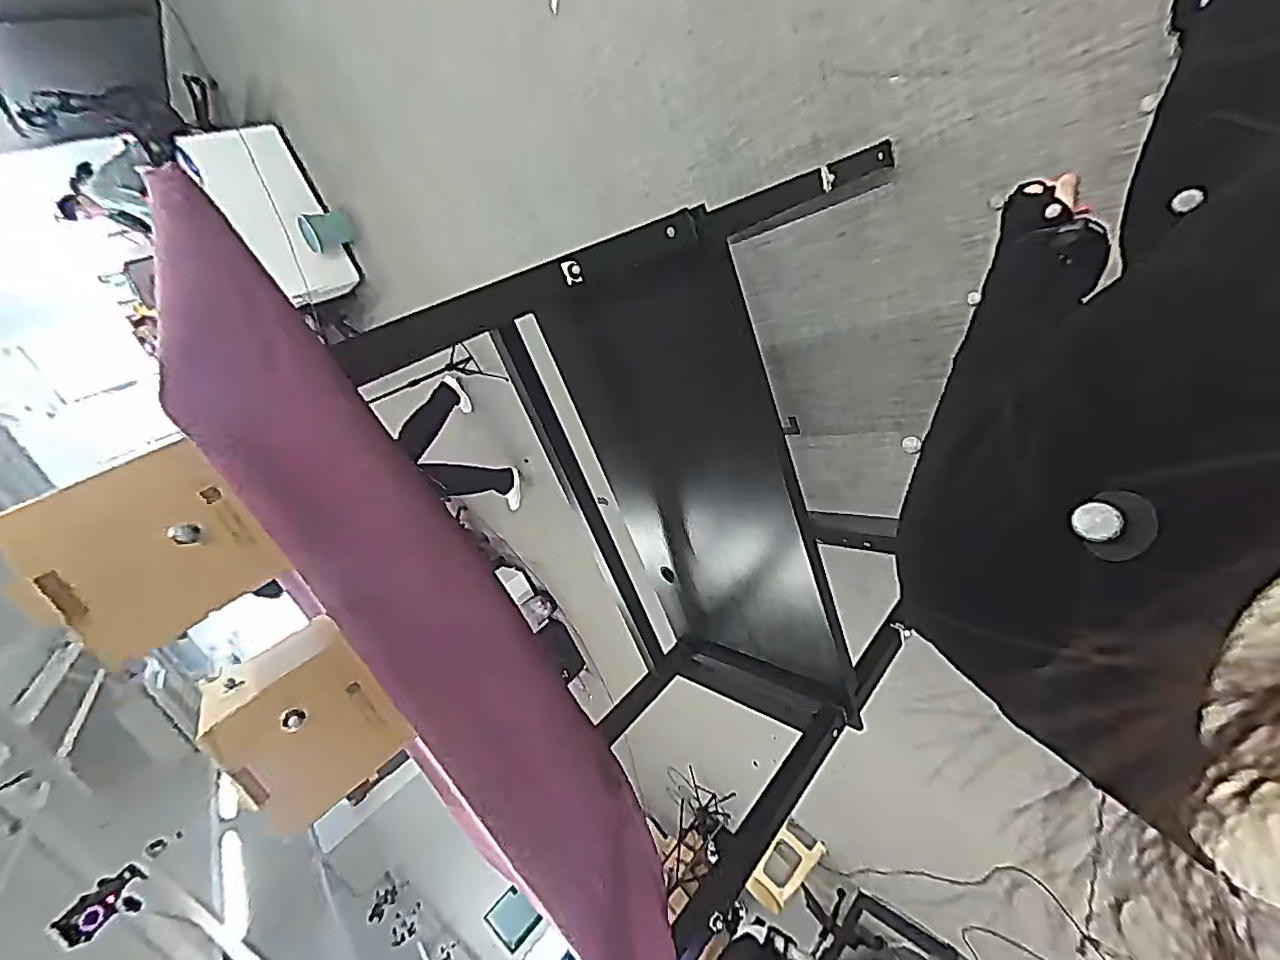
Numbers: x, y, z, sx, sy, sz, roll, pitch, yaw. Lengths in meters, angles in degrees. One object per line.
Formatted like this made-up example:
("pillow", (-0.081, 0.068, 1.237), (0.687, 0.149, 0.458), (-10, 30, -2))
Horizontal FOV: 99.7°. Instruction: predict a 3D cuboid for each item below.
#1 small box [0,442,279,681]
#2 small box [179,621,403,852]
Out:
("small box", (-0.516, 0.074, 0.573), (0.179, 0.176, 0.168), (-5, 117, 54))
("small box", (-0.427, 0.300, 0.678), (0.179, 0.176, 0.168), (-1, 118, 53))
